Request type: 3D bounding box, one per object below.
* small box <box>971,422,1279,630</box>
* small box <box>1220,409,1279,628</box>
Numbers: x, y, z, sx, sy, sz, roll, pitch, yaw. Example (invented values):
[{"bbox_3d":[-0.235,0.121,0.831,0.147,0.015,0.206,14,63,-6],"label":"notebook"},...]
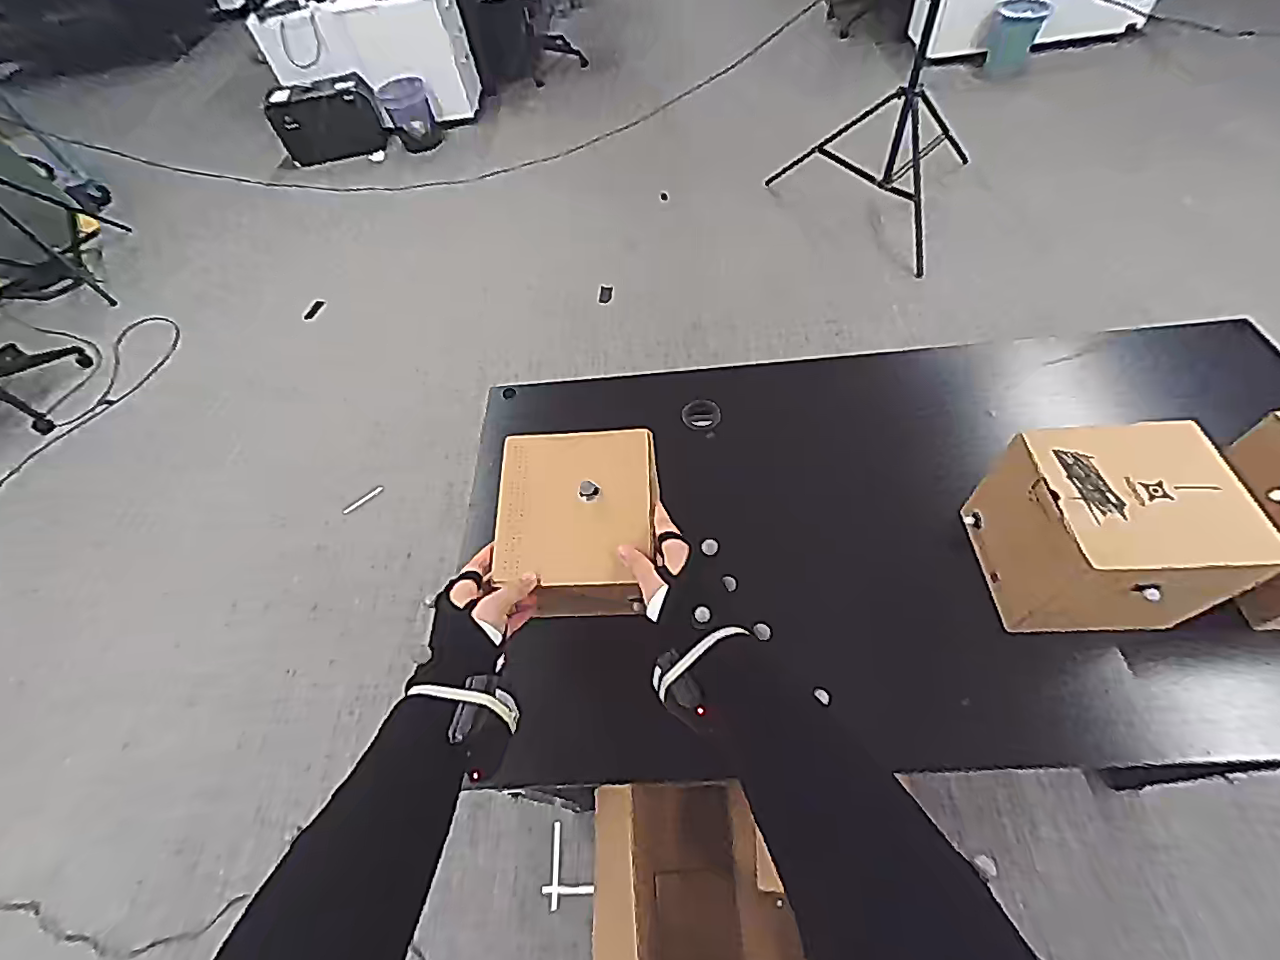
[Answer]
[{"bbox_3d":[0.493,0.056,0.587,0.179,0.176,0.168,-3,55,5],"label":"small box"},{"bbox_3d":[0.737,0.040,0.564,0.168,0.176,0.179,-4,55,6],"label":"small box"}]
